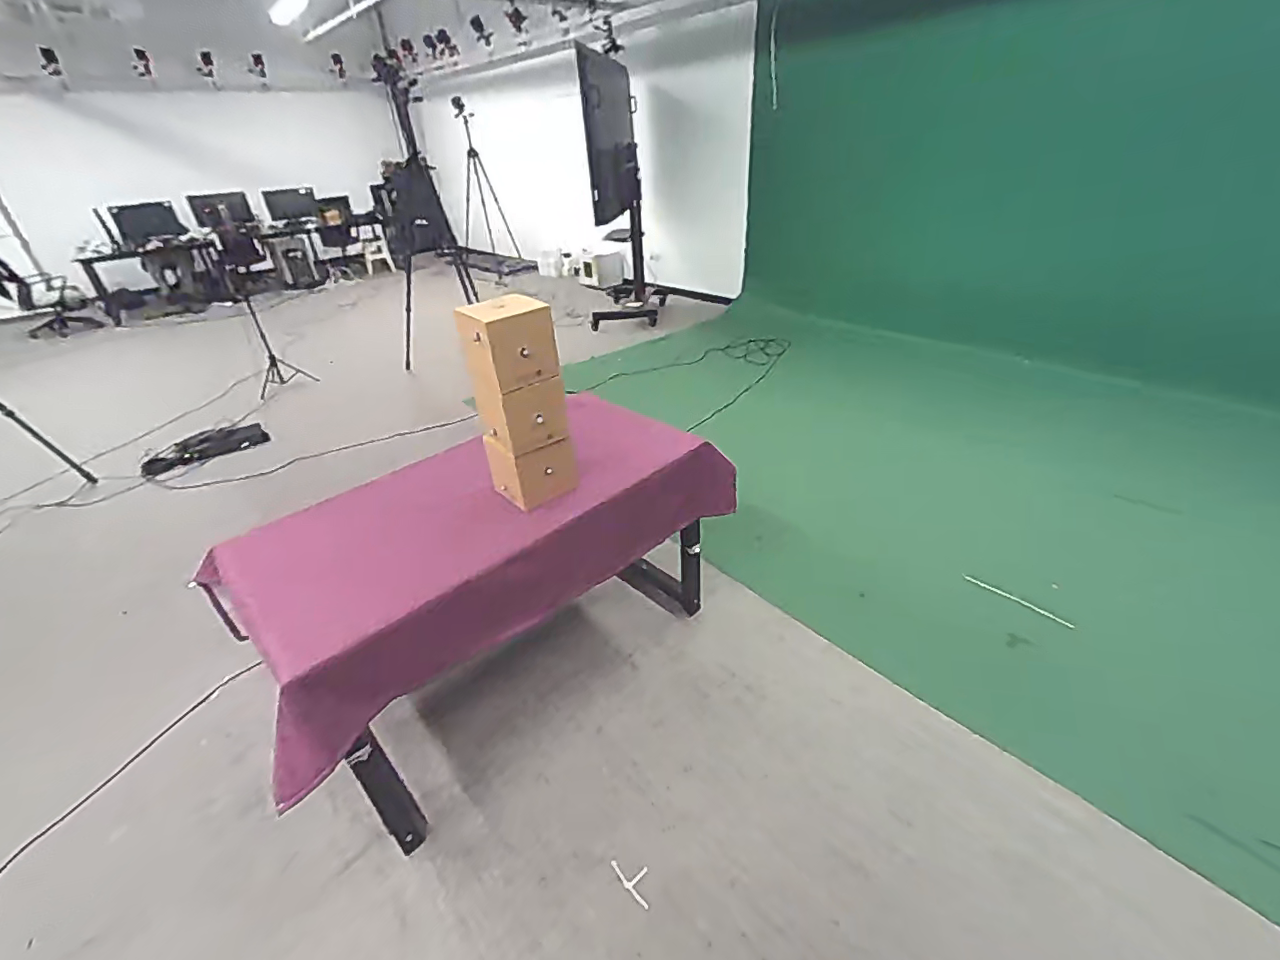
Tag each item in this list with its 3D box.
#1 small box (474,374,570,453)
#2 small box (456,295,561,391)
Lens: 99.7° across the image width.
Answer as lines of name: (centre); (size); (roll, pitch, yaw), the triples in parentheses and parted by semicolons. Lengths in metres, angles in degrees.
small box: (-0.294, -0.185, 1.368); (0.168, 0.176, 0.179); (-25, 39, -30)
small box: (-0.305, -0.323, 1.277); (0.168, 0.176, 0.179); (-27, 38, -31)
